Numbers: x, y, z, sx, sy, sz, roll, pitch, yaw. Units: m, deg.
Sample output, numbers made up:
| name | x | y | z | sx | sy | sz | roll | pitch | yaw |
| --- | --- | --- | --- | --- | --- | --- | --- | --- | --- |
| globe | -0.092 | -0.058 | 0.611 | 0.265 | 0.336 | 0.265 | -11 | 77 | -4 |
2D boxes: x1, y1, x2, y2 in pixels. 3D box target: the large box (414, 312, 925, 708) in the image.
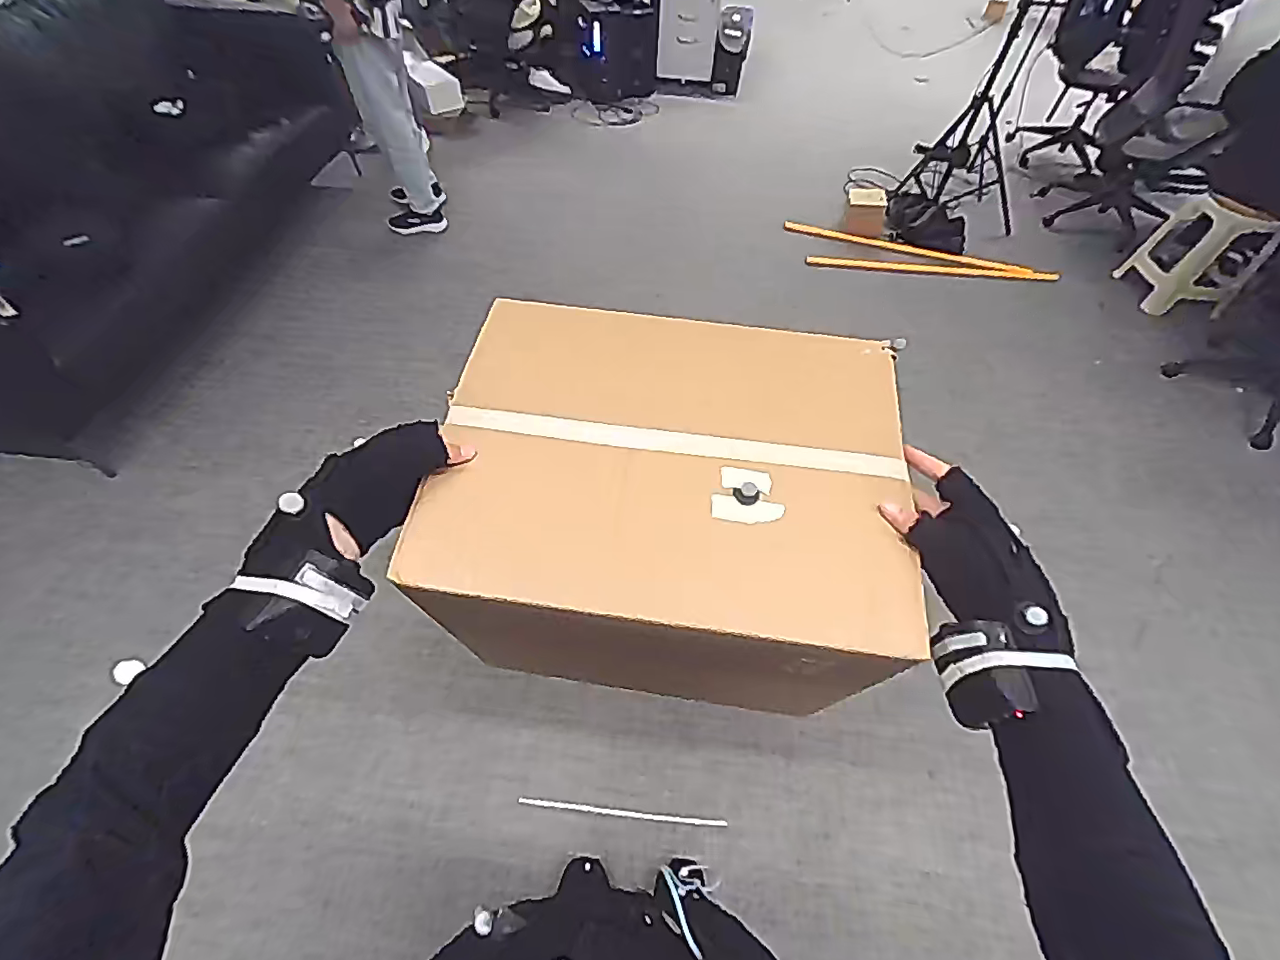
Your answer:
| name | x | y | z | sx | sy | sz | roll | pitch | yaw |
| --- | --- | --- | --- | --- | --- | --- | --- | --- | --- |
| large box | 0.031 | 0.050 | 0.615 | 0.408 | 0.320 | 0.320 | 8 | 60 | 3 |
